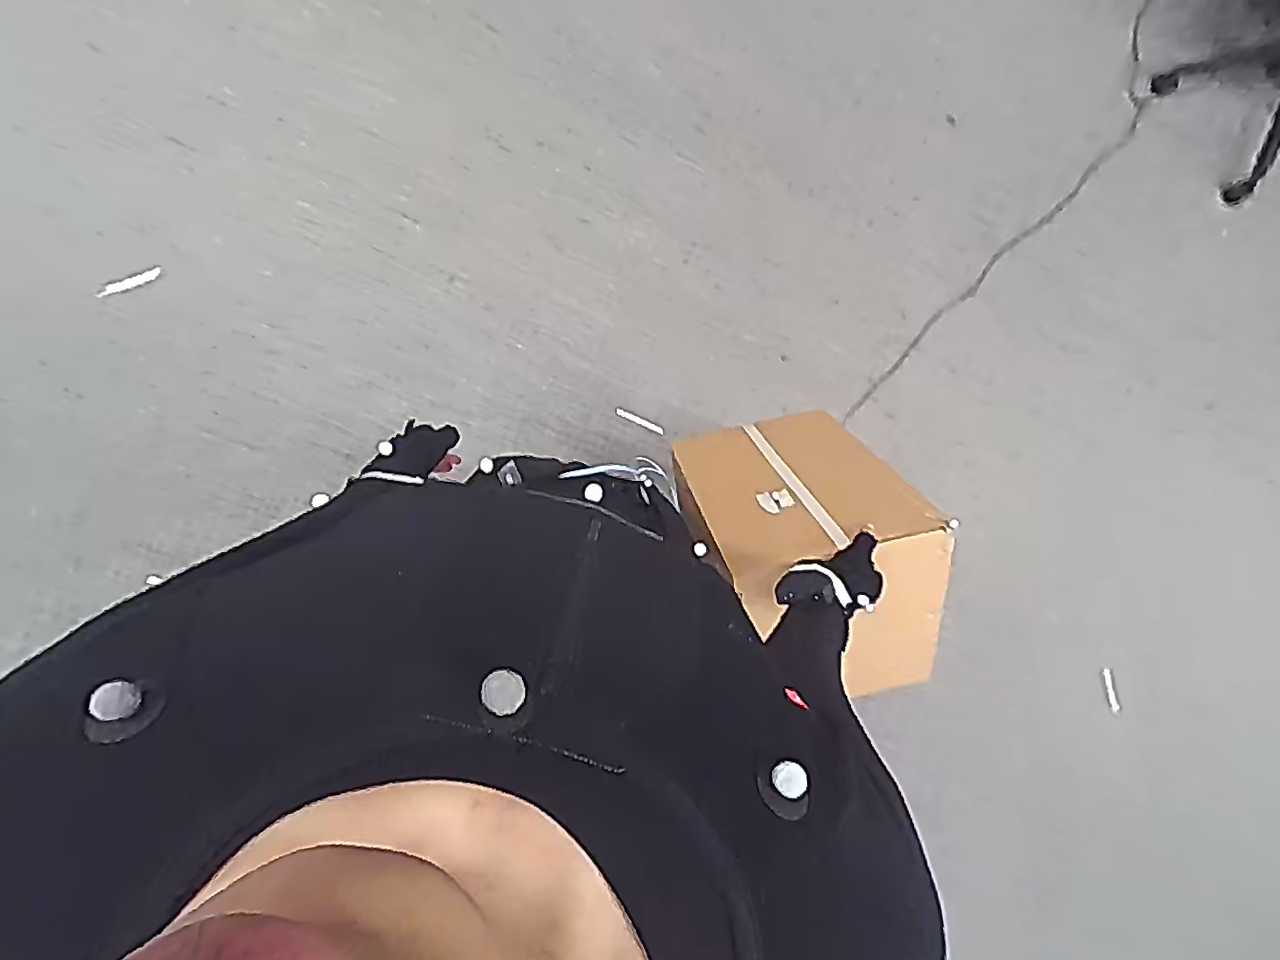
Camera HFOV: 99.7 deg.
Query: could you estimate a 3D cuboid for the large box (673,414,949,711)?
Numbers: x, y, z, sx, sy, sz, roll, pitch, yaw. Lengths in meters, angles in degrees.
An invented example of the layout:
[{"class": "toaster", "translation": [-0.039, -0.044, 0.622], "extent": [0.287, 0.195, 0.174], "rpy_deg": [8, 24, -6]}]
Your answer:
[{"class": "large box", "translation": [0.265, 0.124, 0.972], "extent": [0.320, 0.408, 0.320], "rpy_deg": [-13, 122, -2]}]
